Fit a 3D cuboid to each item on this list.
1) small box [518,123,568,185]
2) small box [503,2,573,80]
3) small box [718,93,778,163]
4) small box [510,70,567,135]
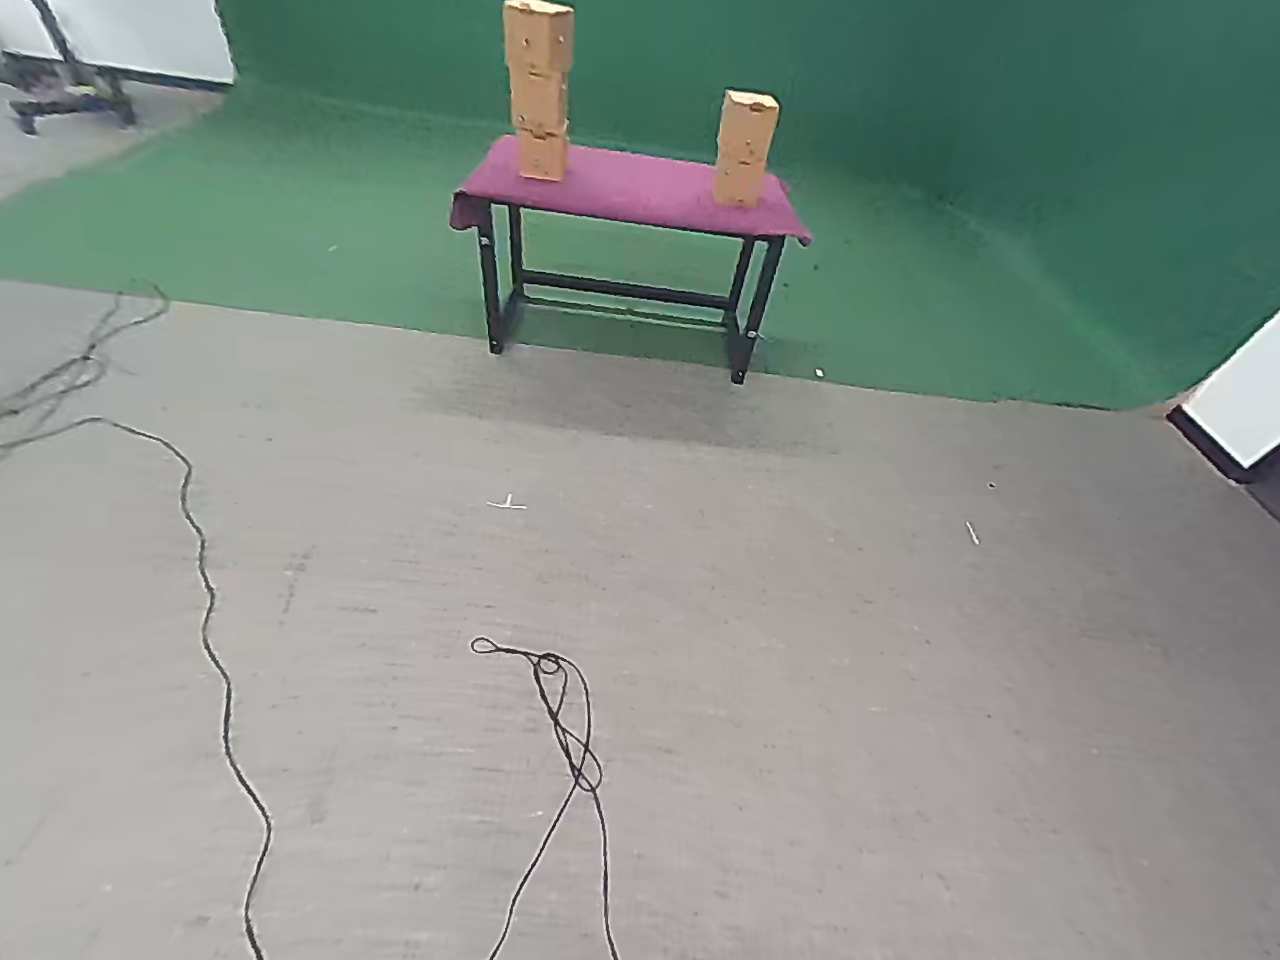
[{"bbox_3d":[-0.367,-1.254,2.058,0.168,0.176,0.179,5,47,-5],"label":"small box"},{"bbox_3d":[-0.335,-1.467,1.810,0.168,0.176,0.179,22,49,9],"label":"small box"},{"bbox_3d":[0.389,-1.289,1.979,0.168,0.176,0.179,4,46,-5],"label":"small box"},{"bbox_3d":[-0.356,-1.354,1.928,0.168,0.176,0.179,9,46,-2],"label":"small box"}]
